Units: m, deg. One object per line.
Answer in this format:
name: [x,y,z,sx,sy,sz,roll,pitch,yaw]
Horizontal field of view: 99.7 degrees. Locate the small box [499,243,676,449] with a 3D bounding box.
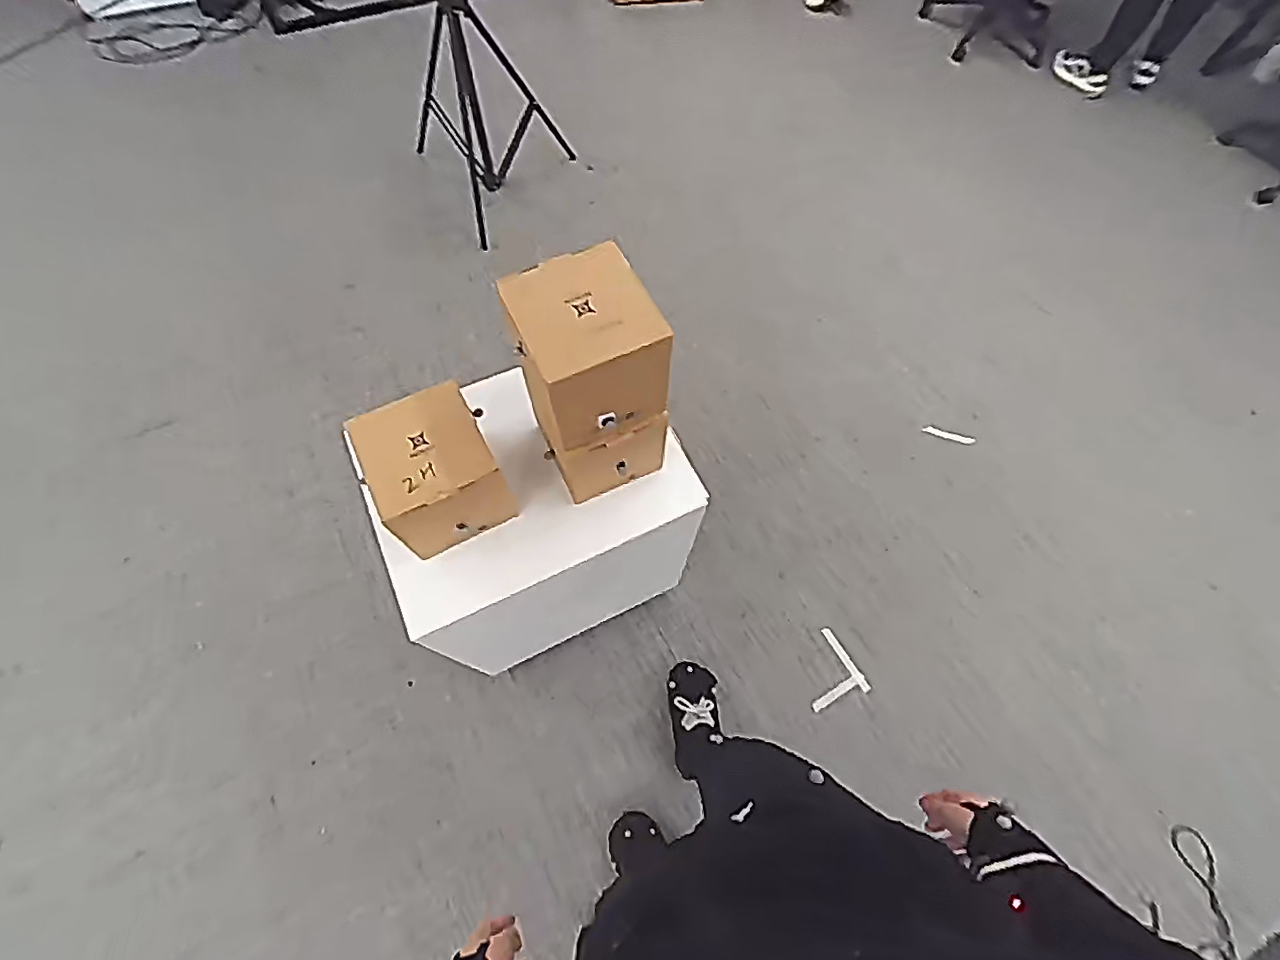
small box: [-0.068,-0.173,0.726,0.168,0.176,0.179,-25,68,-11]

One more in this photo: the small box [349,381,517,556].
small box: [-0.304,-0.012,0.822,0.168,0.176,0.179,-26,69,-13]

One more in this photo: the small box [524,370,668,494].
small box: [-0.068,-0.094,0.868,0.168,0.176,0.179,-23,69,-12]
